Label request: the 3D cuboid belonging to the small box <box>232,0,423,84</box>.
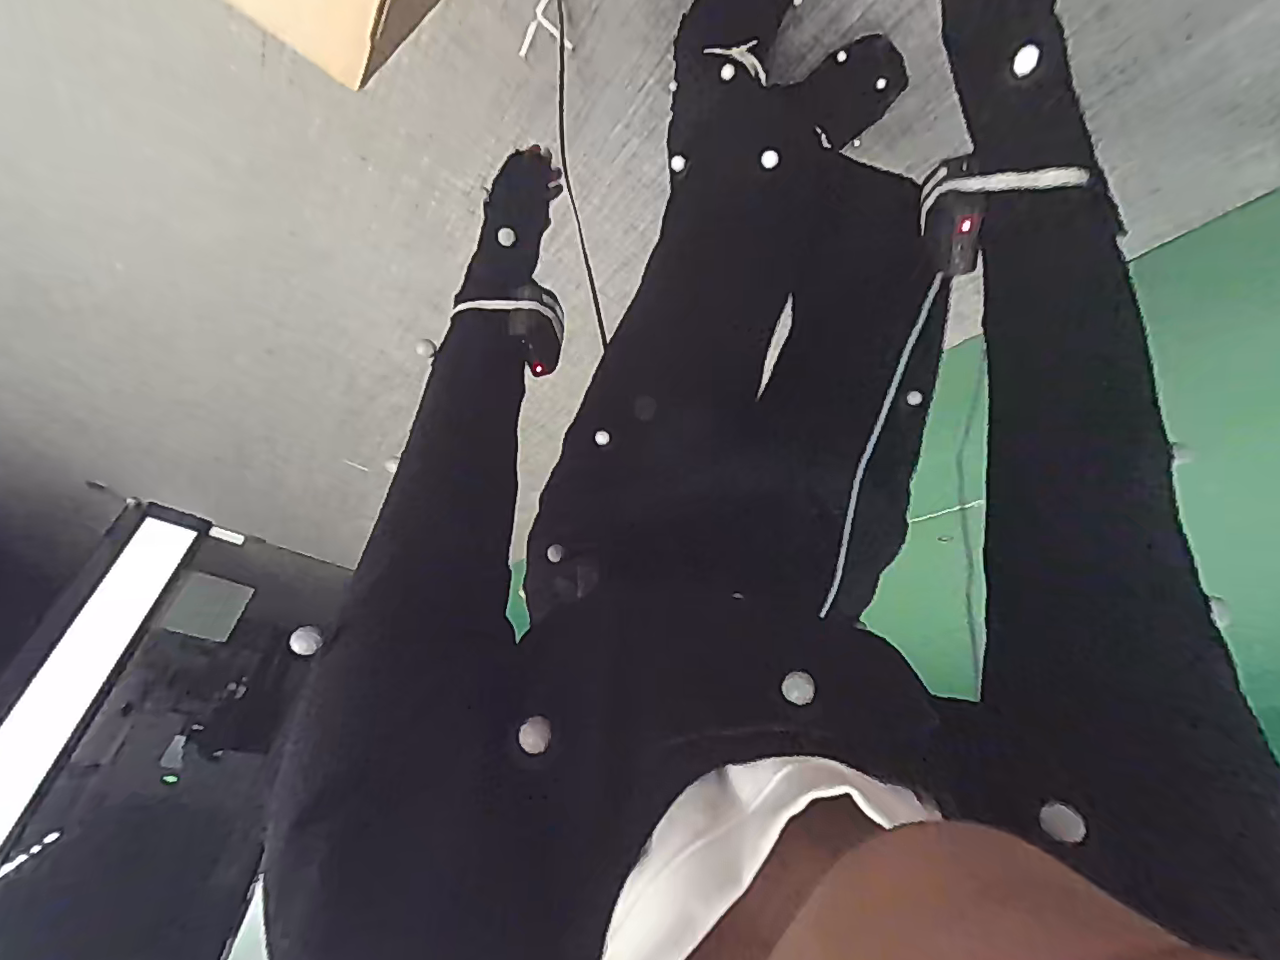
[{"bbox_3d":[-0.154,-0.340,0.233,0.179,0.176,0.168,29,146,-29],"label":"small box"}]
